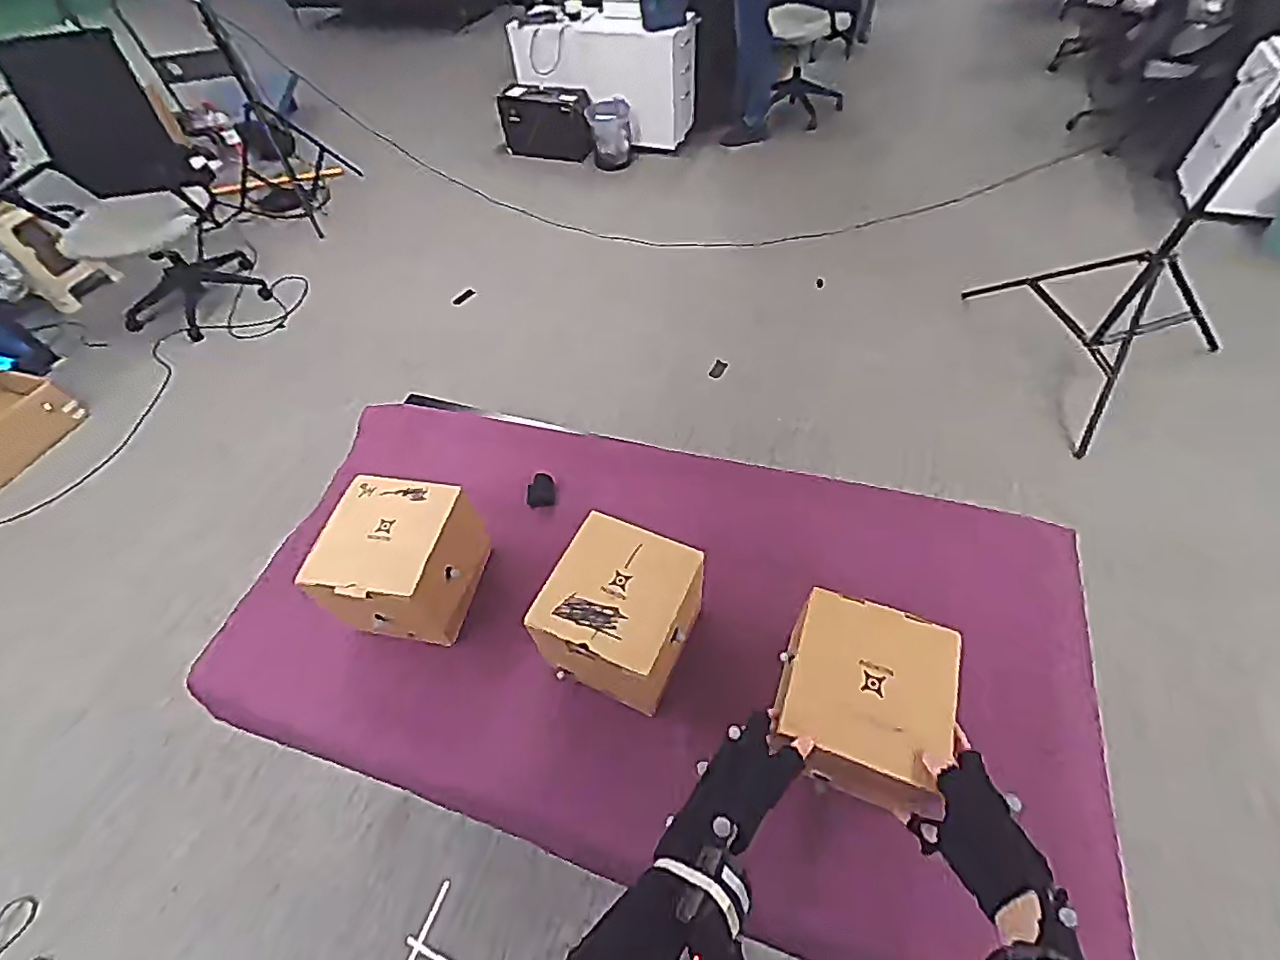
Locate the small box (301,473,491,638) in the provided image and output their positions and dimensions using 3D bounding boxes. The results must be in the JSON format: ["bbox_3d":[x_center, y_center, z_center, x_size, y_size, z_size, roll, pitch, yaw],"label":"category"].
[{"bbox_3d":[-0.338,0.115,0.795,0.168,0.176,0.179,7,54,9],"label":"small box"}]

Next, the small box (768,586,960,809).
[{"bbox_3d":[0.258,0.261,0.645,0.168,0.176,0.179,15,56,17],"label":"small box"}]

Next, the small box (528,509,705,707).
[{"bbox_3d":[-0.021,0.176,0.727,0.168,0.176,0.179,20,56,18],"label":"small box"}]
